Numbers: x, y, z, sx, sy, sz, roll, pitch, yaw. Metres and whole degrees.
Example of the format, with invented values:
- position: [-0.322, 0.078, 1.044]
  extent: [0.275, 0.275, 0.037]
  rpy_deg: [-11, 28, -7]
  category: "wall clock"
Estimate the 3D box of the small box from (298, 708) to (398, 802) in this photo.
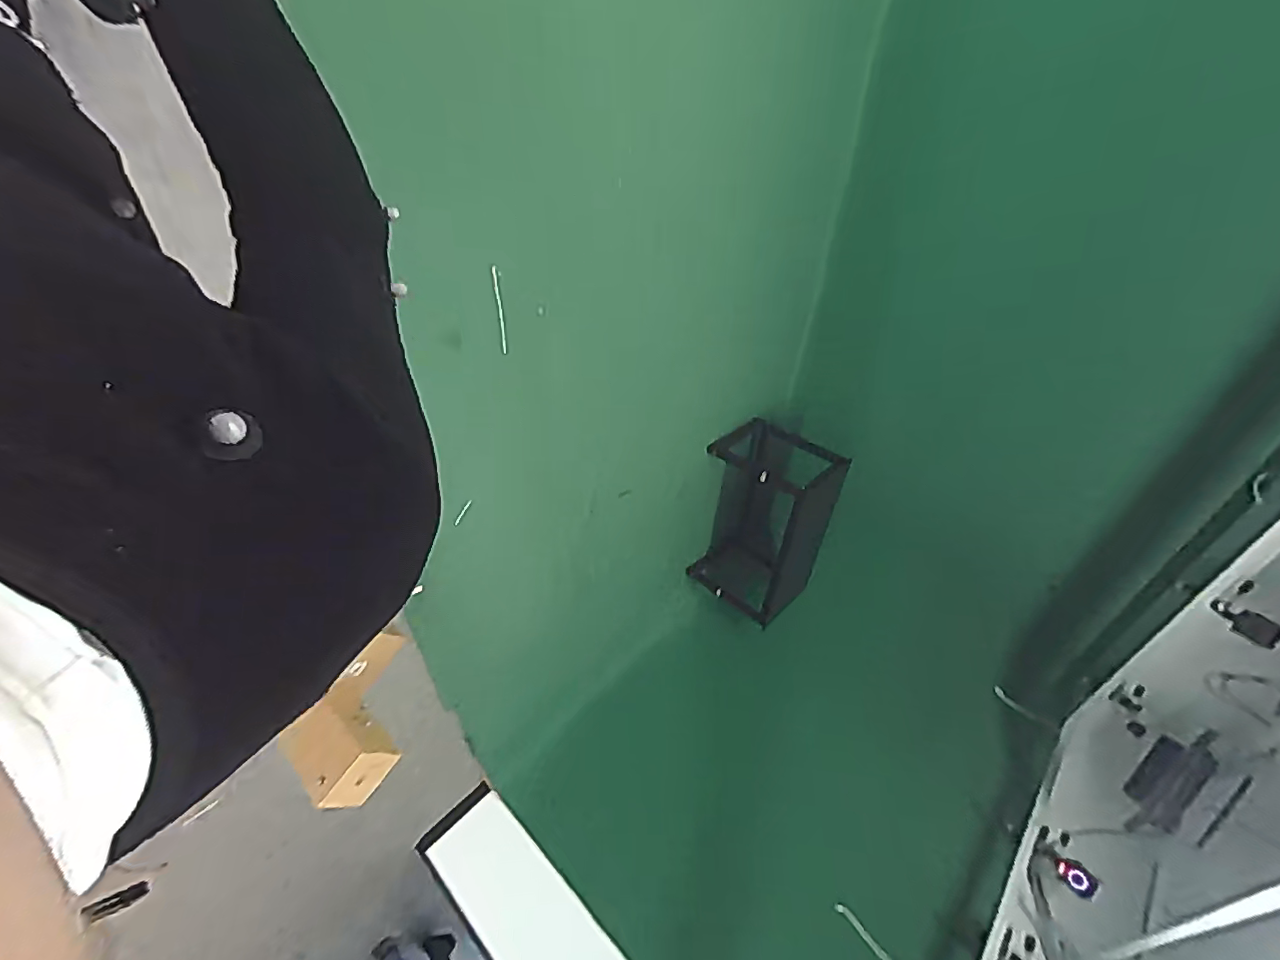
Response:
- position: [-0.855, 0.800, 1.575]
  extent: [0.179, 0.176, 0.168]
  rpy_deg: [-51, 148, -11]
  category: "small box"
